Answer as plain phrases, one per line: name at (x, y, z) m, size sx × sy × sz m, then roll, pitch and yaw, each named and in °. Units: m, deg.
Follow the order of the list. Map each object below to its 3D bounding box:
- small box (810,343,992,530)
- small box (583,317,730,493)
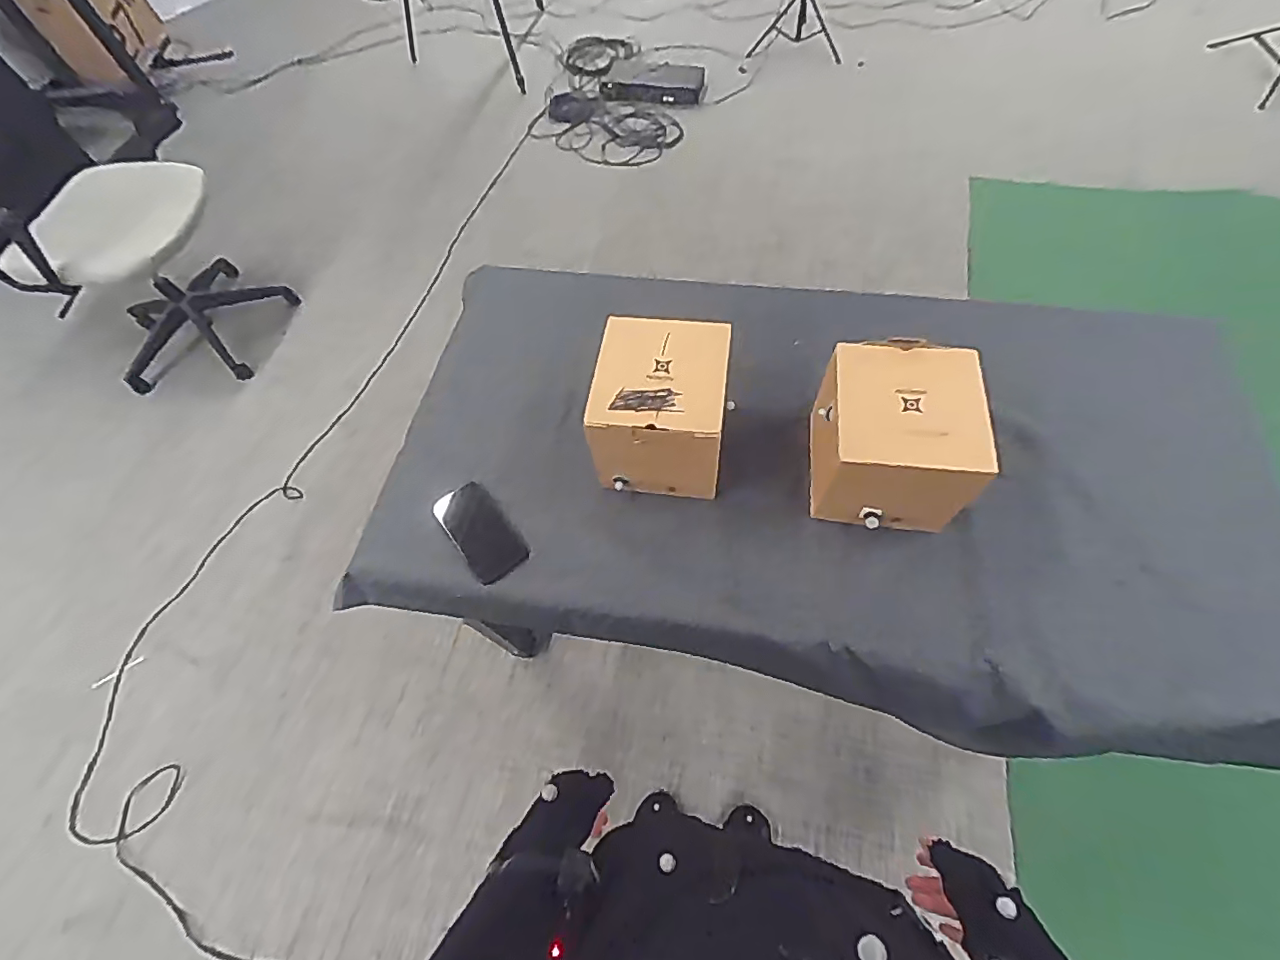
small box at (0.319, -0.053, 0.702) m, size 0.168 × 0.176 × 0.179 m, roll 4°, pitch 63°, yaw 8°
small box at (0.030, -0.097, 0.745) m, size 0.168 × 0.176 × 0.179 m, roll 6°, pitch 62°, yaw 7°
